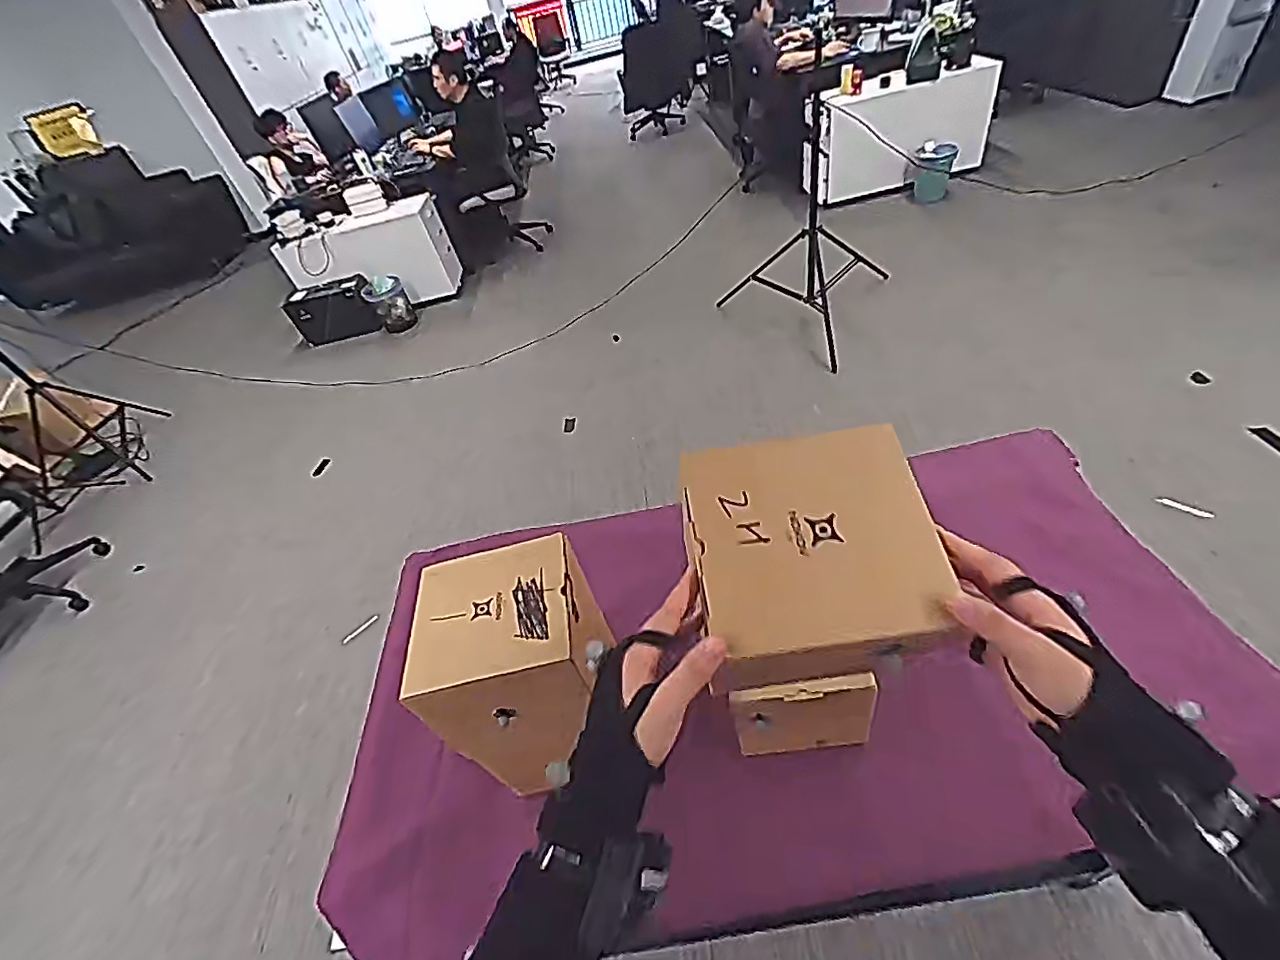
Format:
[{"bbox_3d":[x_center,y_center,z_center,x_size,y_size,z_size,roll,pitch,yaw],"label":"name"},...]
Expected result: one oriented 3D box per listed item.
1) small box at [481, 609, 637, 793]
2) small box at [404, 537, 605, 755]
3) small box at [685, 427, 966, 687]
[{"bbox_3d":[-0.113,0.310,0.752,0.179,0.176,0.168,-14,43,1],"label":"small box"},{"bbox_3d":[-0.143,0.197,0.635,0.179,0.176,0.168,-14,43,2],"label":"small box"},{"bbox_3d":[0.138,0.077,0.478,0.179,0.176,0.168,-9,60,2],"label":"small box"}]
